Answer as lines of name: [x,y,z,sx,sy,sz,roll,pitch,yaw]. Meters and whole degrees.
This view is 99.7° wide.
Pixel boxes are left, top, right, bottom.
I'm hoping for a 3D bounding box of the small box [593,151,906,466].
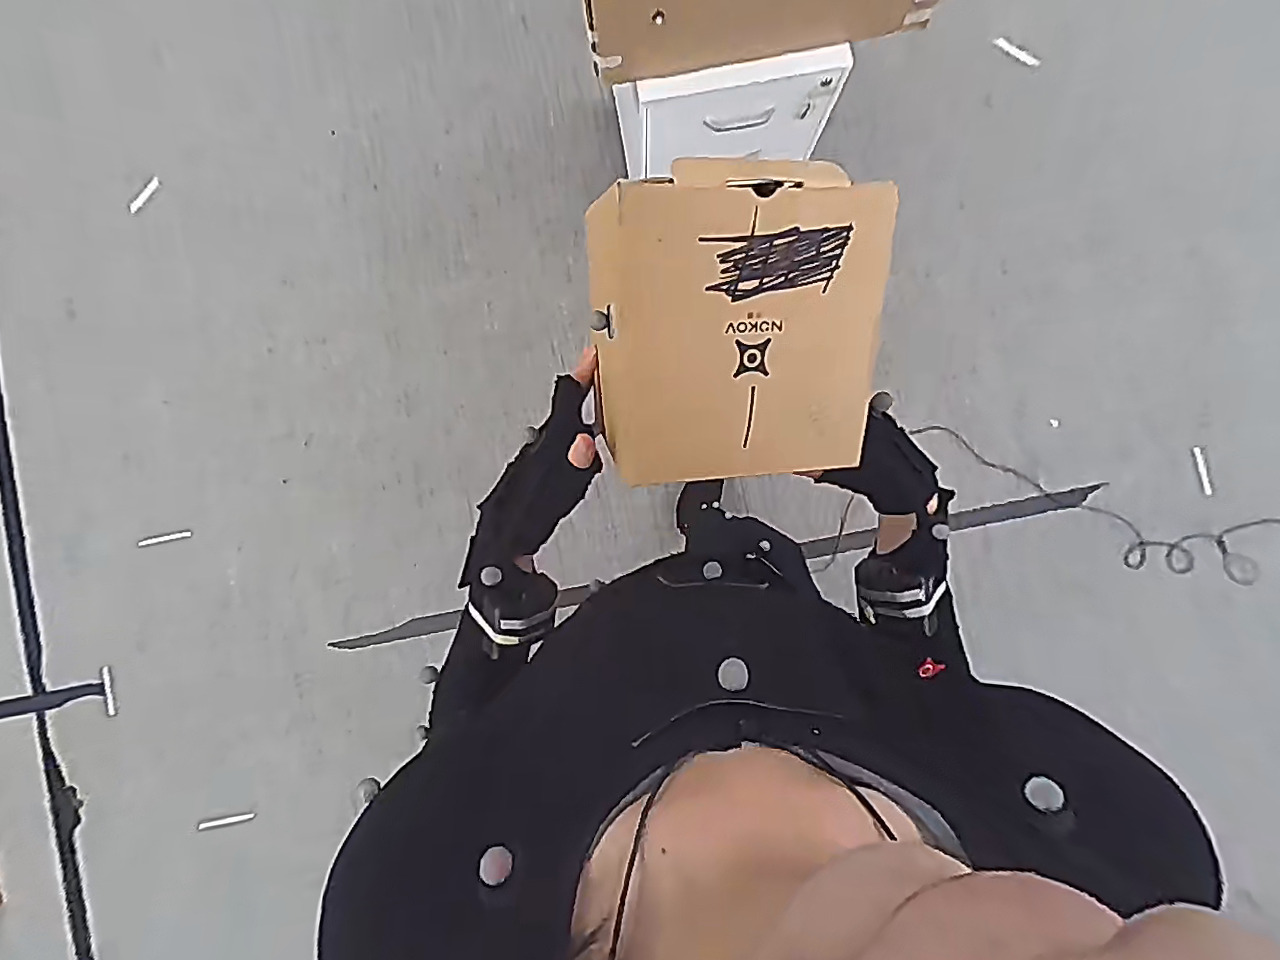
small box: [0.058,-0.123,0.397,0.168,0.176,0.179,-5,112,-10]
